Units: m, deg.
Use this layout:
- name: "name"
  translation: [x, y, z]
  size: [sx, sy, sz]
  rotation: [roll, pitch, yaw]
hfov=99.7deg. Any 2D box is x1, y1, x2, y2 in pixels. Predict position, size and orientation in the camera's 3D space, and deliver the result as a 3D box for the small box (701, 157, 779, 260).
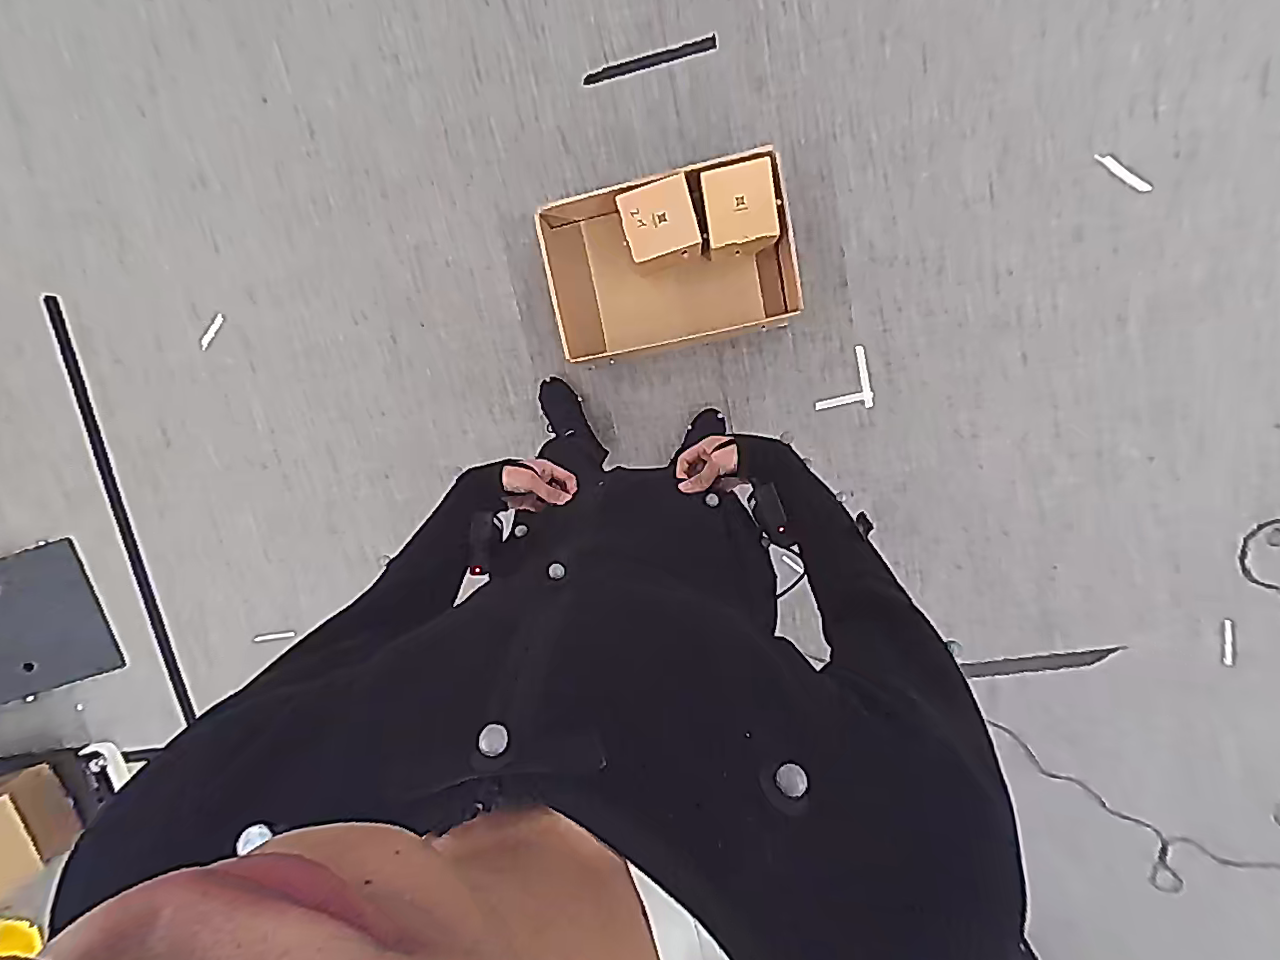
- name: "small box"
  translation: [0.246, -0.674, 1.361]
  size: [0.168, 0.176, 0.179]
  rotation: [-10, 101, 8]
